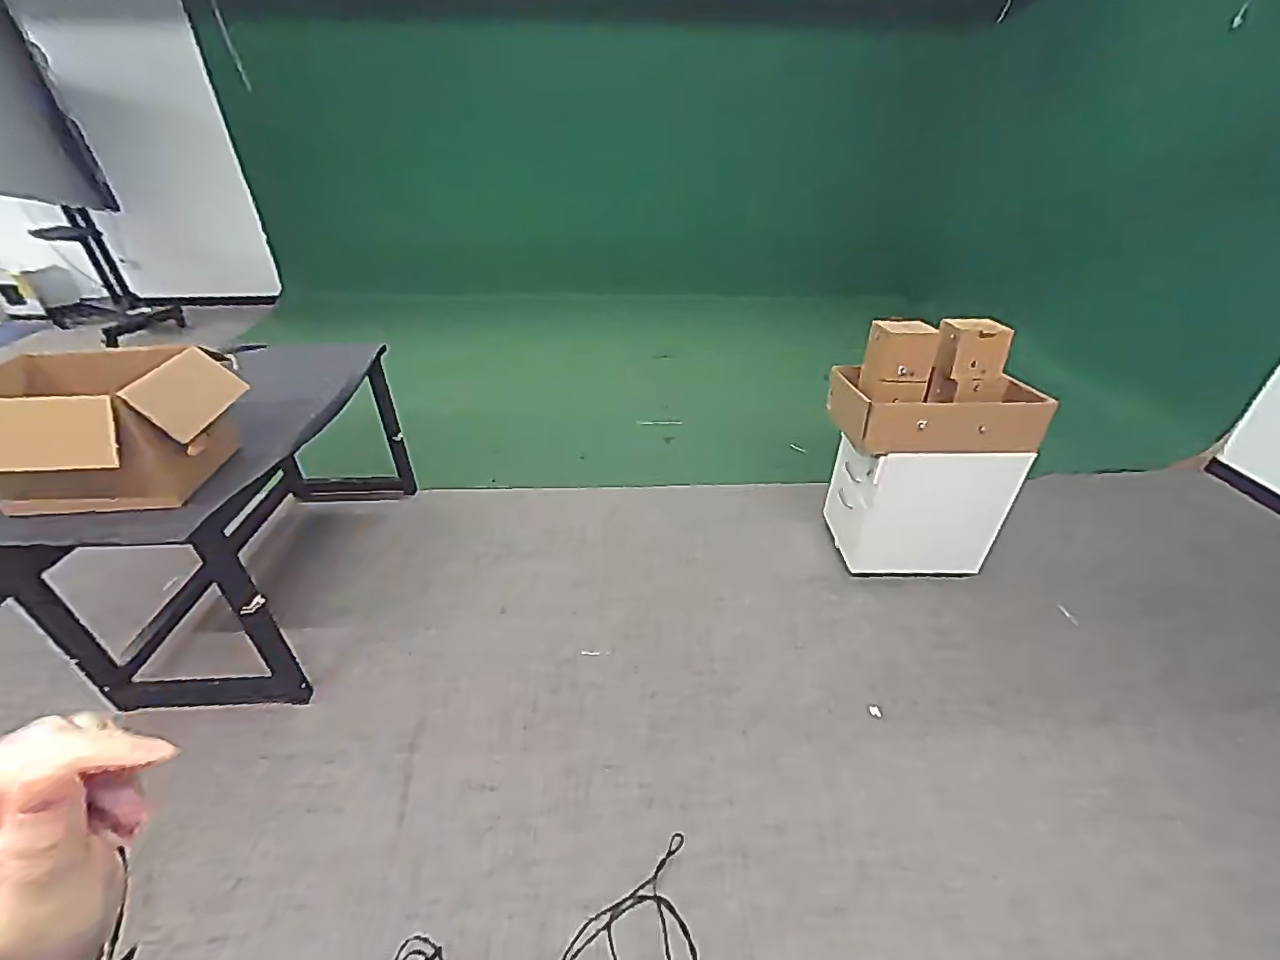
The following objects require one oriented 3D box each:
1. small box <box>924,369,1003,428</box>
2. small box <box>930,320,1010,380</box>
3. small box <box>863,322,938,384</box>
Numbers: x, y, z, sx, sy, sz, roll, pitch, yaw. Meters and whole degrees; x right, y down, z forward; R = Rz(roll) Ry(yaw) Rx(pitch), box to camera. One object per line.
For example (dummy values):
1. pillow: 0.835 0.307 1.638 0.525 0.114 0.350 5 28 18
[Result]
1. small box: 1.149 -0.295 1.935 0.168 0.176 0.179 -2 28 1
2. small box: 1.138 -0.453 1.885 0.168 0.176 0.179 2 29 4
3. small box: 0.885 -0.439 1.857 0.168 0.176 0.179 1 30 1
